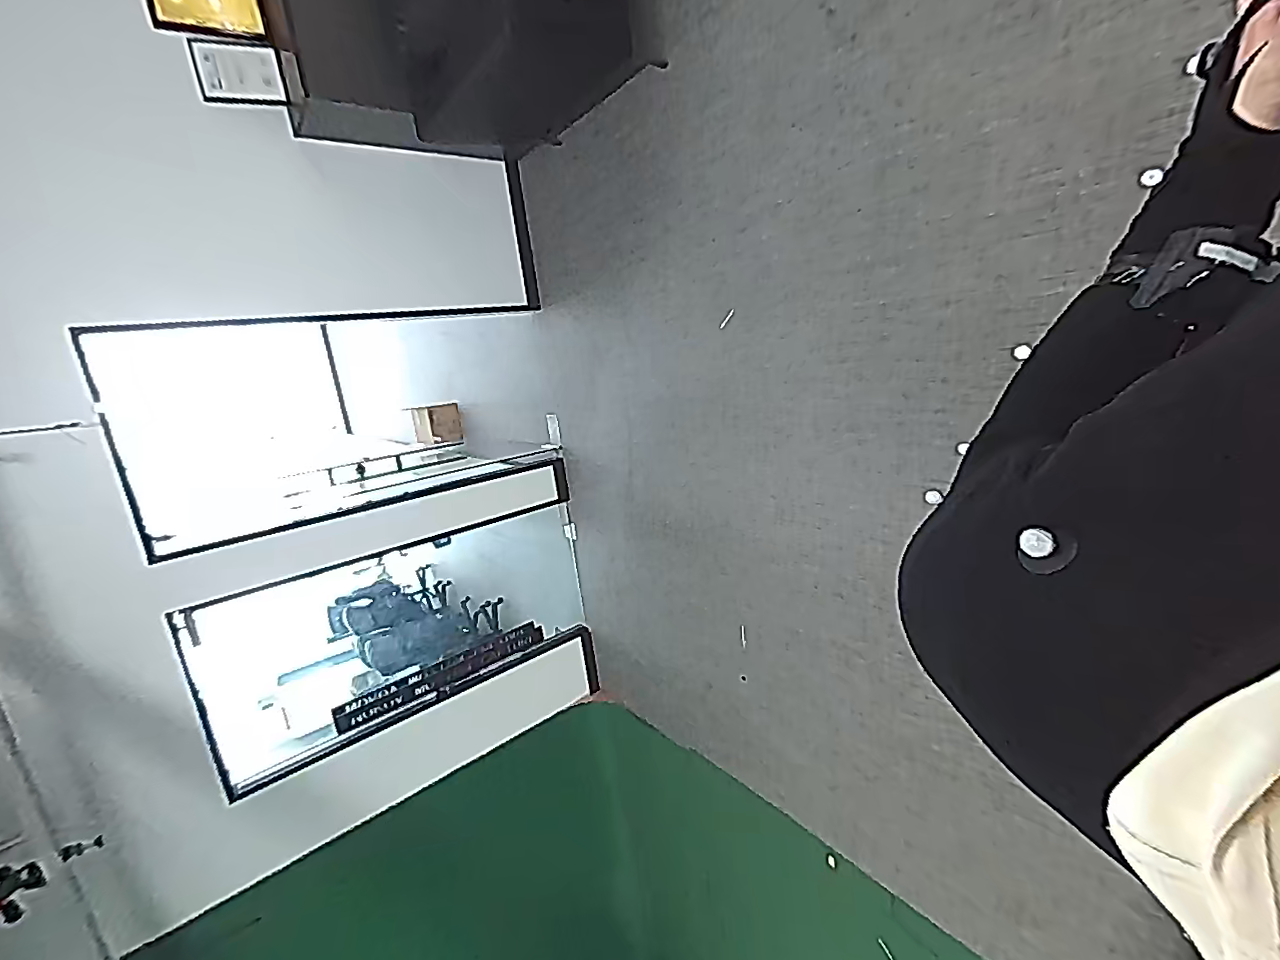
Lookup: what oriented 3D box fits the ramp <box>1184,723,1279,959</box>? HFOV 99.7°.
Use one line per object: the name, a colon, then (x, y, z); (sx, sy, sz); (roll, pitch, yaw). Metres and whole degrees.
ramp: (1.464, 1.069, 1.106); (0.509, 0.206, 0.991); (6, 106, 53)
